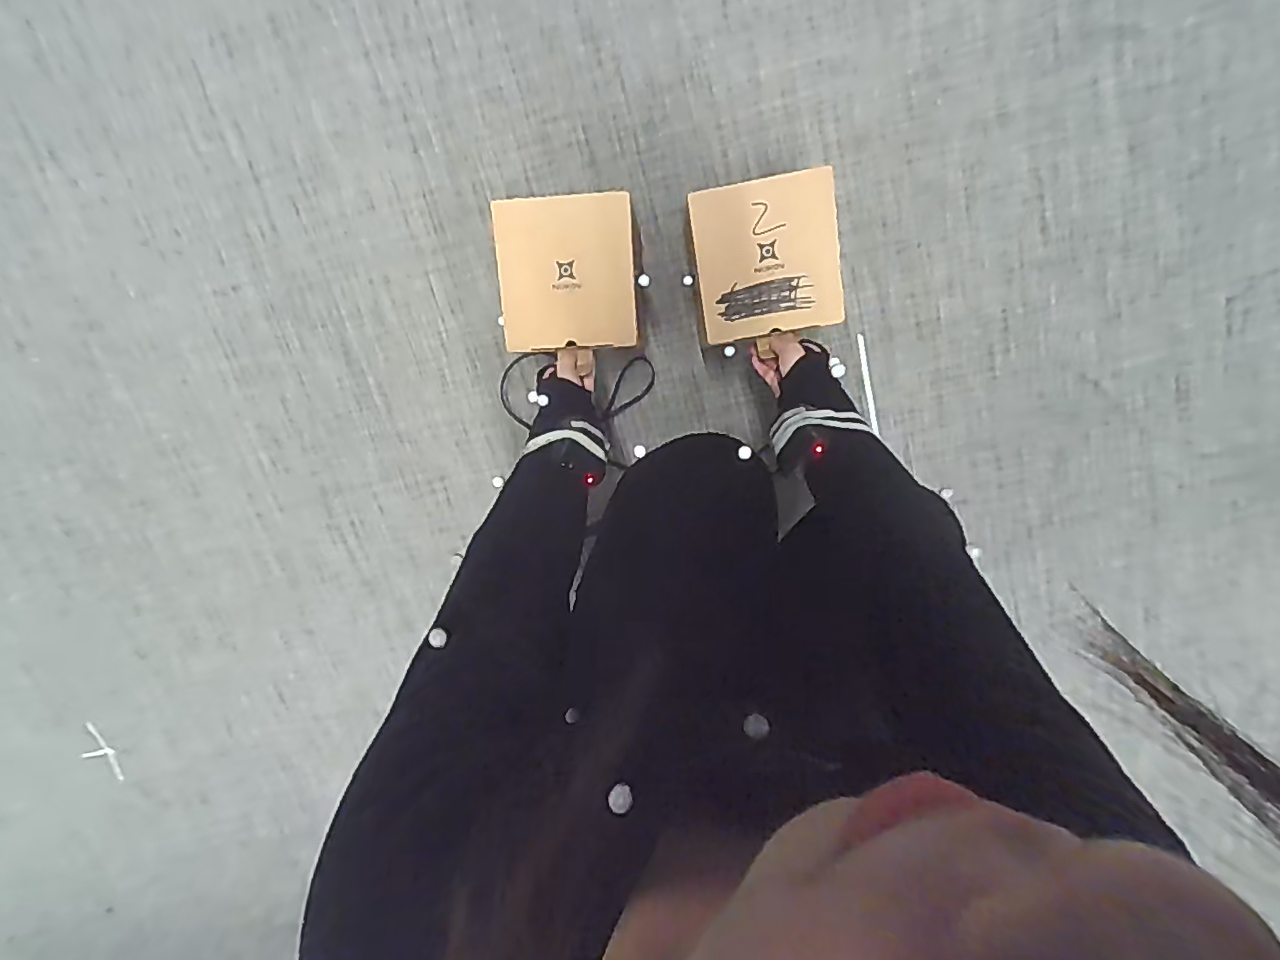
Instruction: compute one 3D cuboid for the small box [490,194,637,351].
[{"bbox_3d":[-0.091,-0.266,0.729,0.168,0.176,0.179,-2,105,3],"label":"small box"}]
